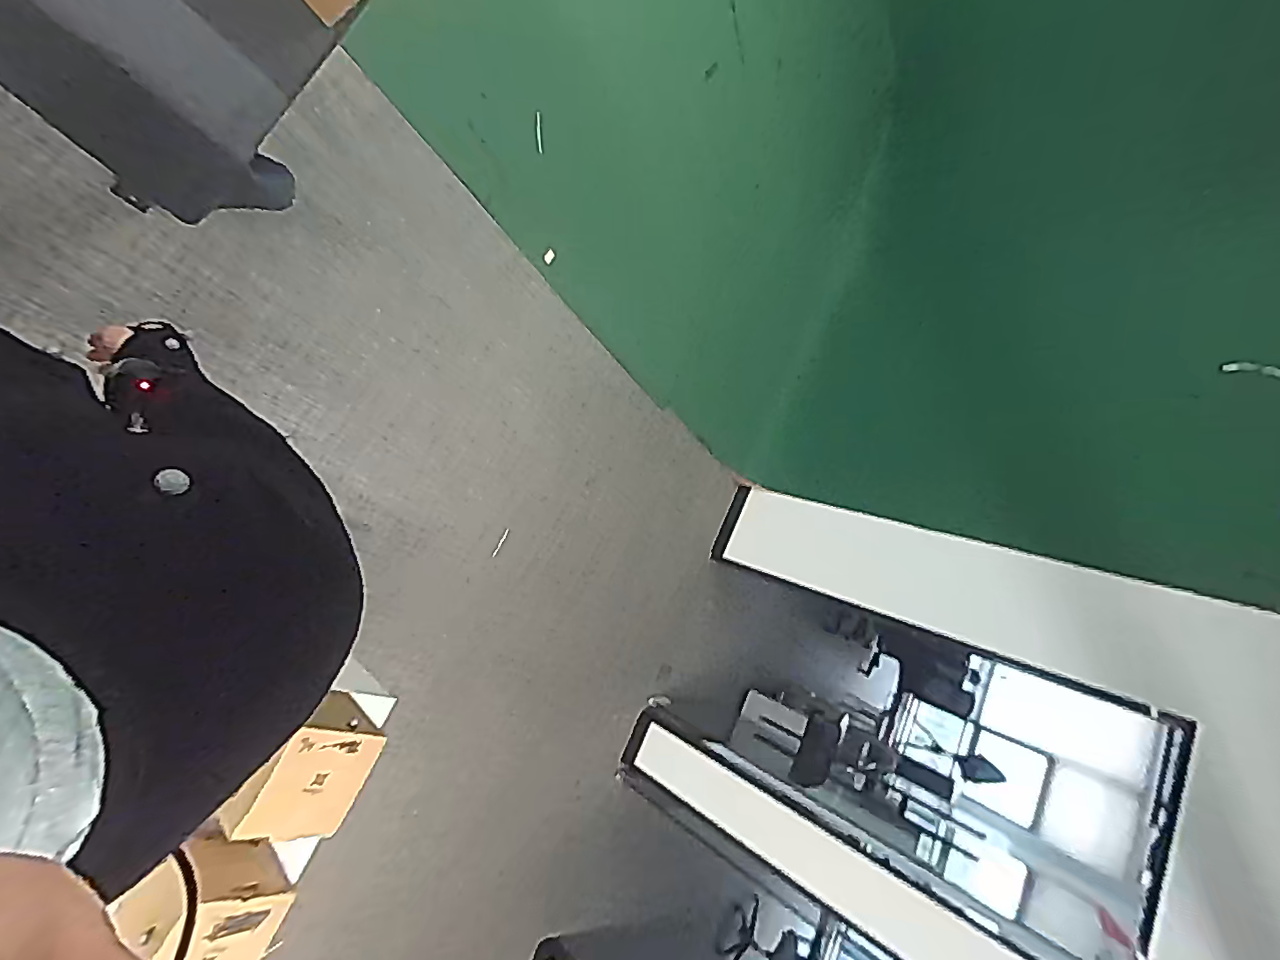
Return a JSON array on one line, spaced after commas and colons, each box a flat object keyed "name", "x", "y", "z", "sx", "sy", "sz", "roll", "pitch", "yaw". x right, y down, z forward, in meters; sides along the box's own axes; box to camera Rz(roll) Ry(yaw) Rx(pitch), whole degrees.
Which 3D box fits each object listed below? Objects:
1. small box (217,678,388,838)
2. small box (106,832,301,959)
[{"name": "small box", "x": -0.576, "y": 0.467, "z": 0.919, "sx": 0.168, "sy": 0.176, "sz": 0.179, "roll": 42, "pitch": 72, "yaw": -48}, {"name": "small box", "x": -0.693, "y": 0.691, "z": 0.857, "sx": 0.168, "sy": 0.176, "sz": 0.179, "roll": 43, "pitch": 70, "yaw": -47}]
